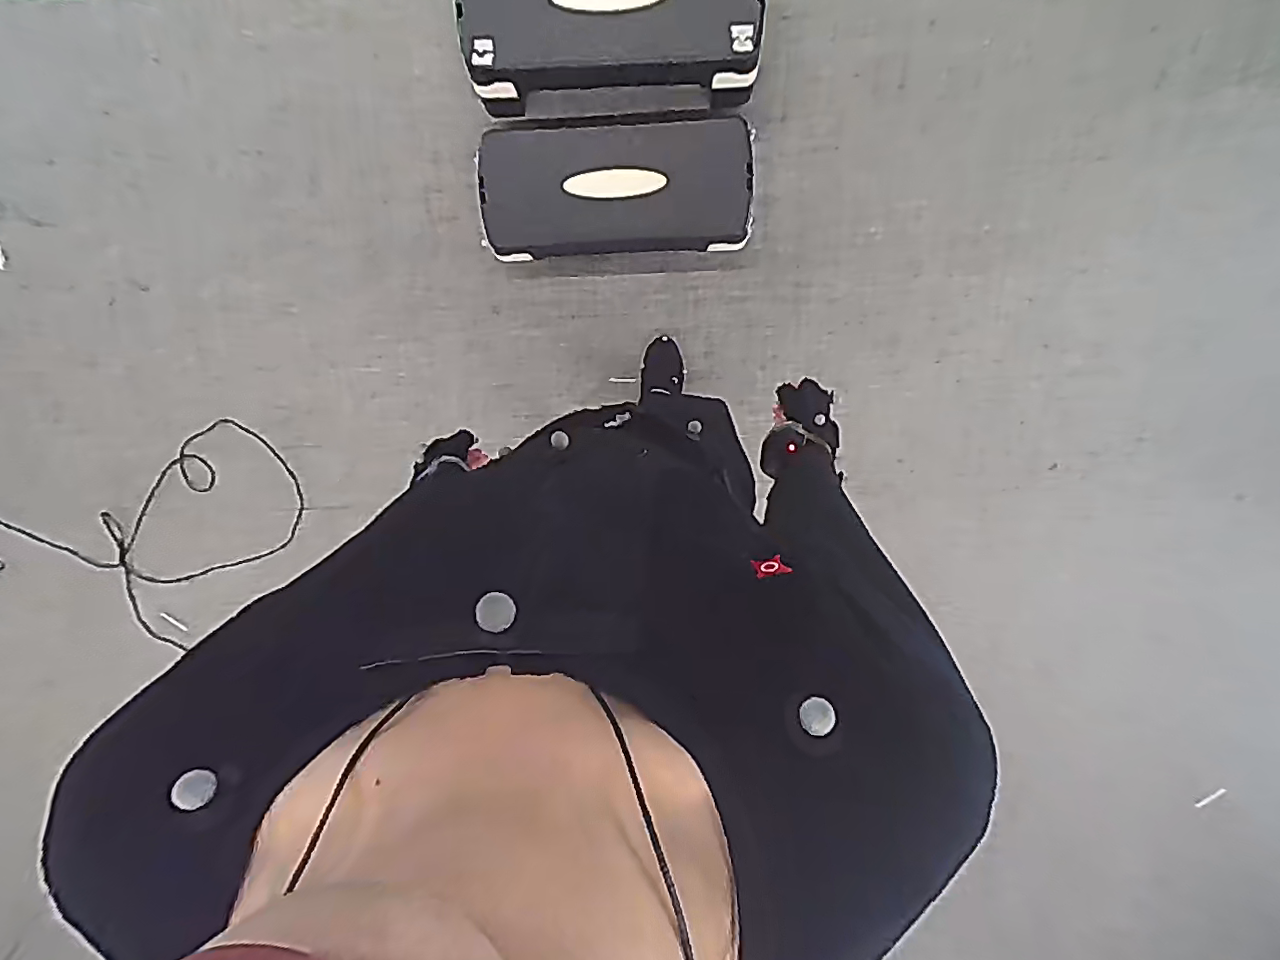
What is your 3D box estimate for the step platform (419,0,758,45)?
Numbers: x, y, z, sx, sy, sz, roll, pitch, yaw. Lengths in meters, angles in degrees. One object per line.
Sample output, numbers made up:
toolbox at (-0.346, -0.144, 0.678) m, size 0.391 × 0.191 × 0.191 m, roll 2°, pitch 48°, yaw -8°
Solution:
step platform at (-0.099, -1.035, 1.013) m, size 0.684 × 0.204 × 0.286 m, roll -2°, pitch 100°, yaw 2°
